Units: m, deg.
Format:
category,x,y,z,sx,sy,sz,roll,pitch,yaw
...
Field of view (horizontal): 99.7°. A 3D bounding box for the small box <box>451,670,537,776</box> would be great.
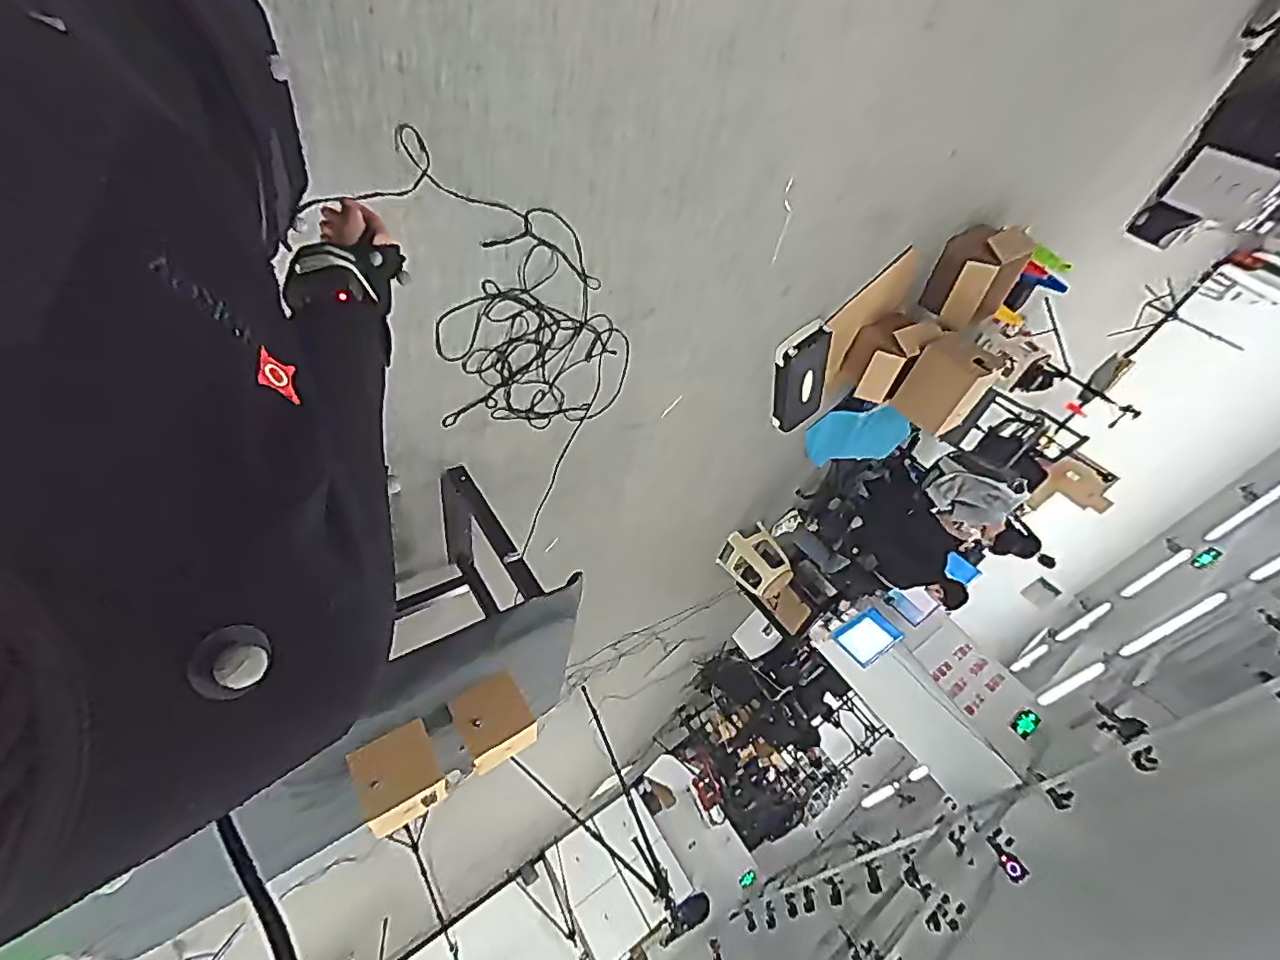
category,x,y,z,sx,sy,sz,roll,pitch,yaw
small box,-0.396,0.651,1.456,0.179,0.176,0.168,-24,148,-29
